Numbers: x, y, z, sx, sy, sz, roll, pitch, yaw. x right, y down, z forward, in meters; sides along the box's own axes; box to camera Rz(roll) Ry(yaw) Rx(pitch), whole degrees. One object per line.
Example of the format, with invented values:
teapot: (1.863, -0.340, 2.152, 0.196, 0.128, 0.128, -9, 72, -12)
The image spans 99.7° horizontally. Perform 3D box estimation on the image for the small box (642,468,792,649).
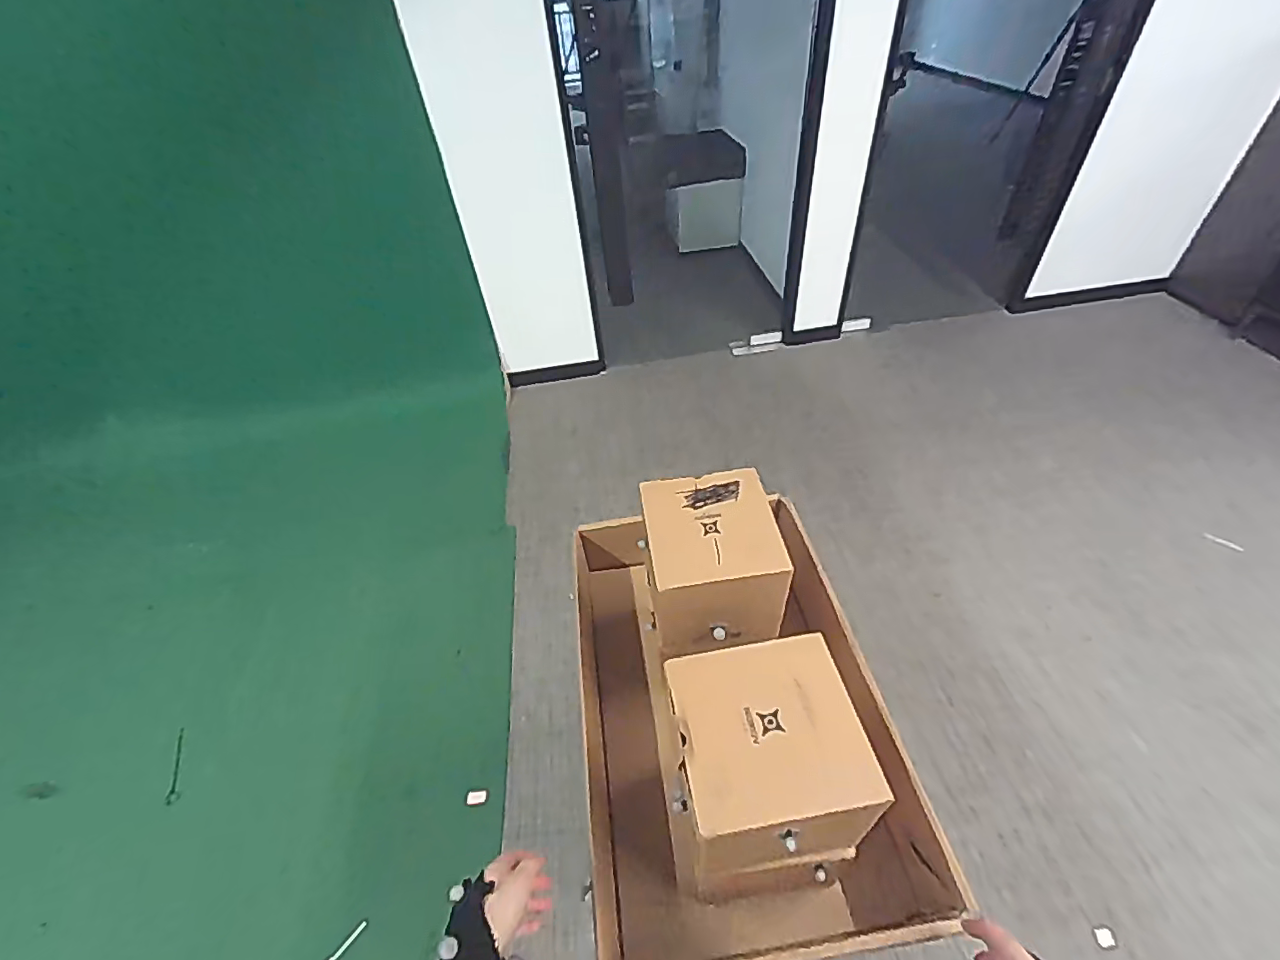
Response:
small box: (0.096, 0.110, 0.752, 0.168, 0.176, 0.179, -8, 48, -1)

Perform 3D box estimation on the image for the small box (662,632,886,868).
small box: (0.127, 0.290, 0.578, 0.179, 0.176, 0.168, -9, 46, -3)

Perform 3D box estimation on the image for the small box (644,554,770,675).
small box: (0.108, 0.219, 0.875, 0.179, 0.176, 0.168, -8, 47, 0)
